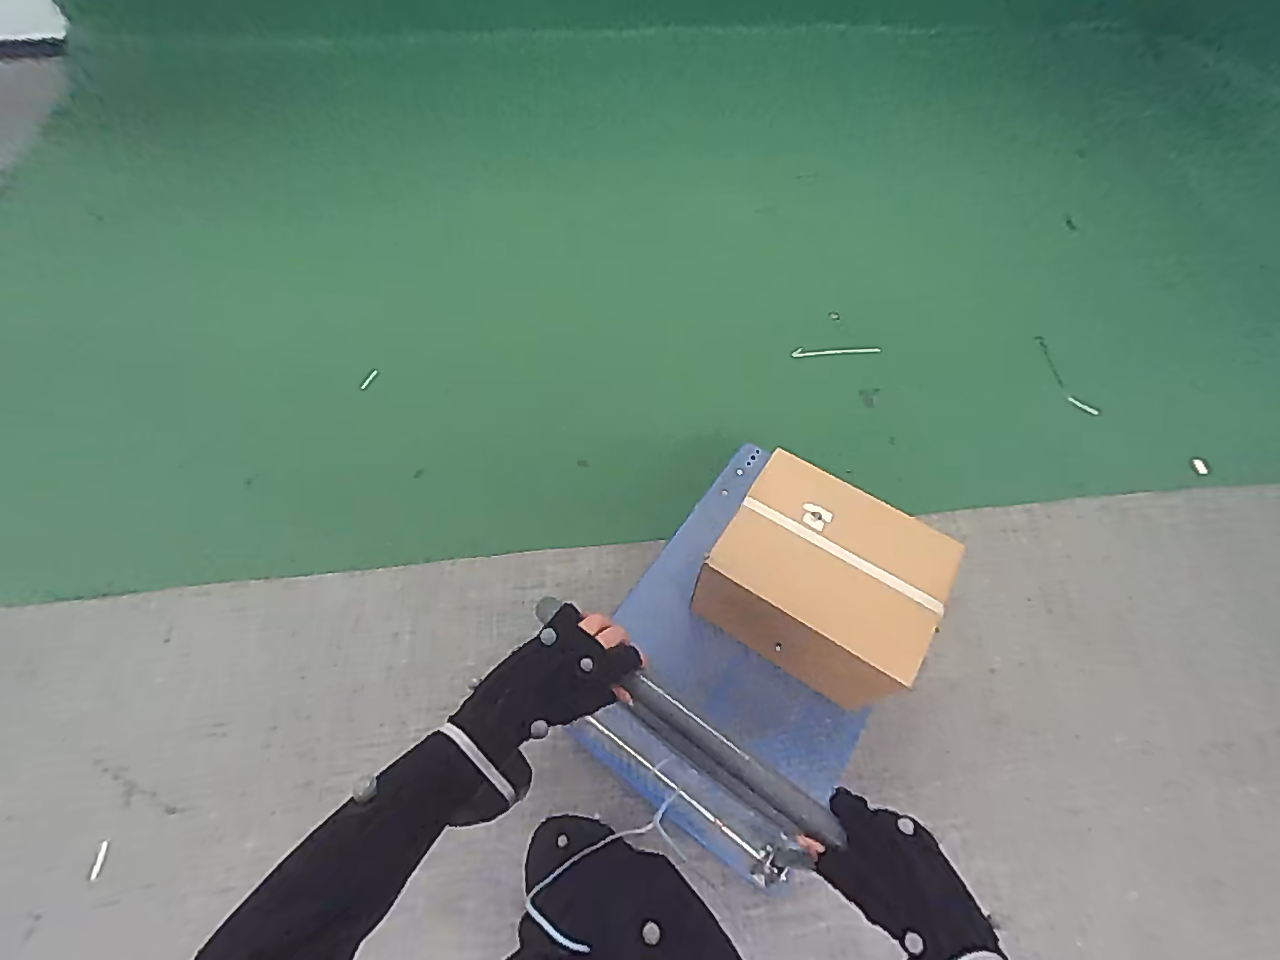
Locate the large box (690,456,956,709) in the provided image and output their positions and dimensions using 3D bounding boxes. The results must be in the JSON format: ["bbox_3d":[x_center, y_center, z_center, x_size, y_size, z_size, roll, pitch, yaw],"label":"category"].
[{"bbox_3d":[0.359,0.223,1.151,0.408,0.320,0.320,30,63,17],"label":"large box"}]
